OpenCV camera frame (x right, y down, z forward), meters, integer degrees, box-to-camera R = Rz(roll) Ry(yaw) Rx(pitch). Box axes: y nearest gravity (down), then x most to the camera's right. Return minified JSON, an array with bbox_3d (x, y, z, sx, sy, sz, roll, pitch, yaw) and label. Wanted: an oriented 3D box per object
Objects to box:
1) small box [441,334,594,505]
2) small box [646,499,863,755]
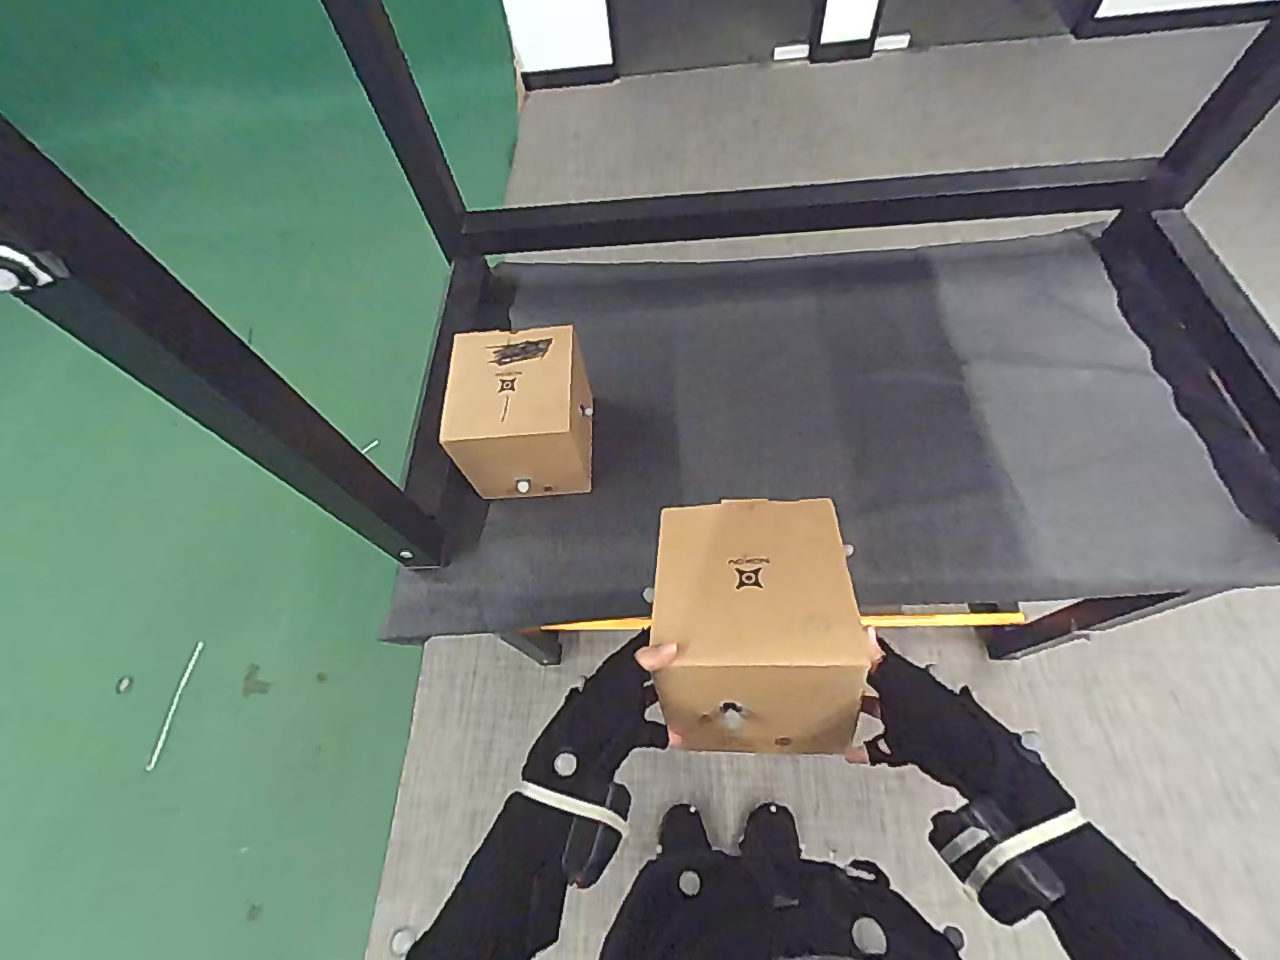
[{"bbox_3d":[-0.160,-0.081,0.771,0.168,0.176,0.179,-4,61,4],"label":"small box"},{"bbox_3d":[0.107,0.142,0.516,0.168,0.176,0.179,-5,39,11],"label":"small box"}]
